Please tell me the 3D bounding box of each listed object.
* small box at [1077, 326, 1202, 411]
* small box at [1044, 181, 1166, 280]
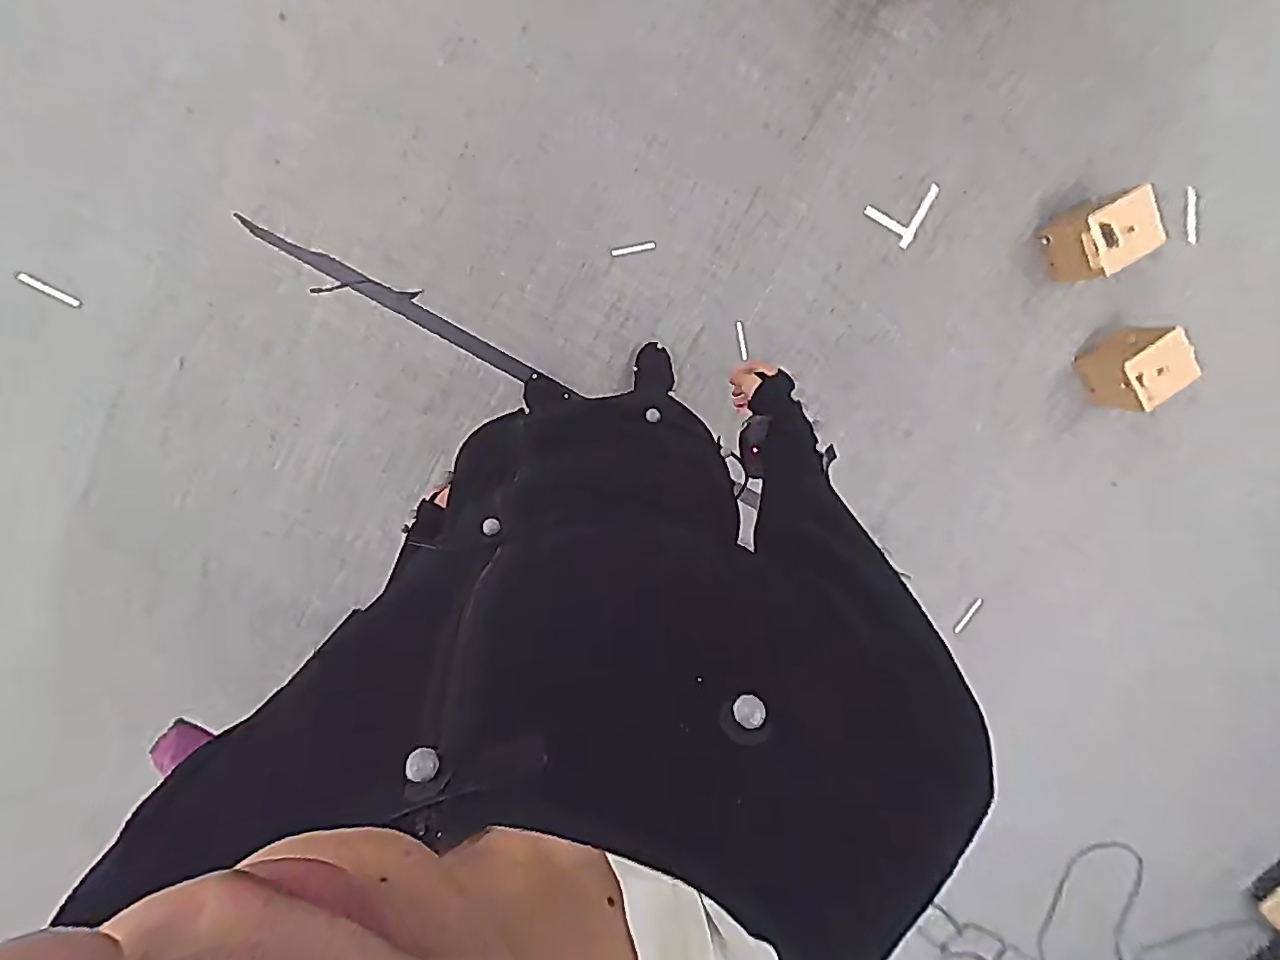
[{"bbox_3d":[1.420,-0.322,1.547,0.179,0.176,0.168,-37,103,6],"label":"small box"},{"bbox_3d":[1.232,-0.656,1.450,0.179,0.176,0.168,-30,104,5],"label":"small box"}]
